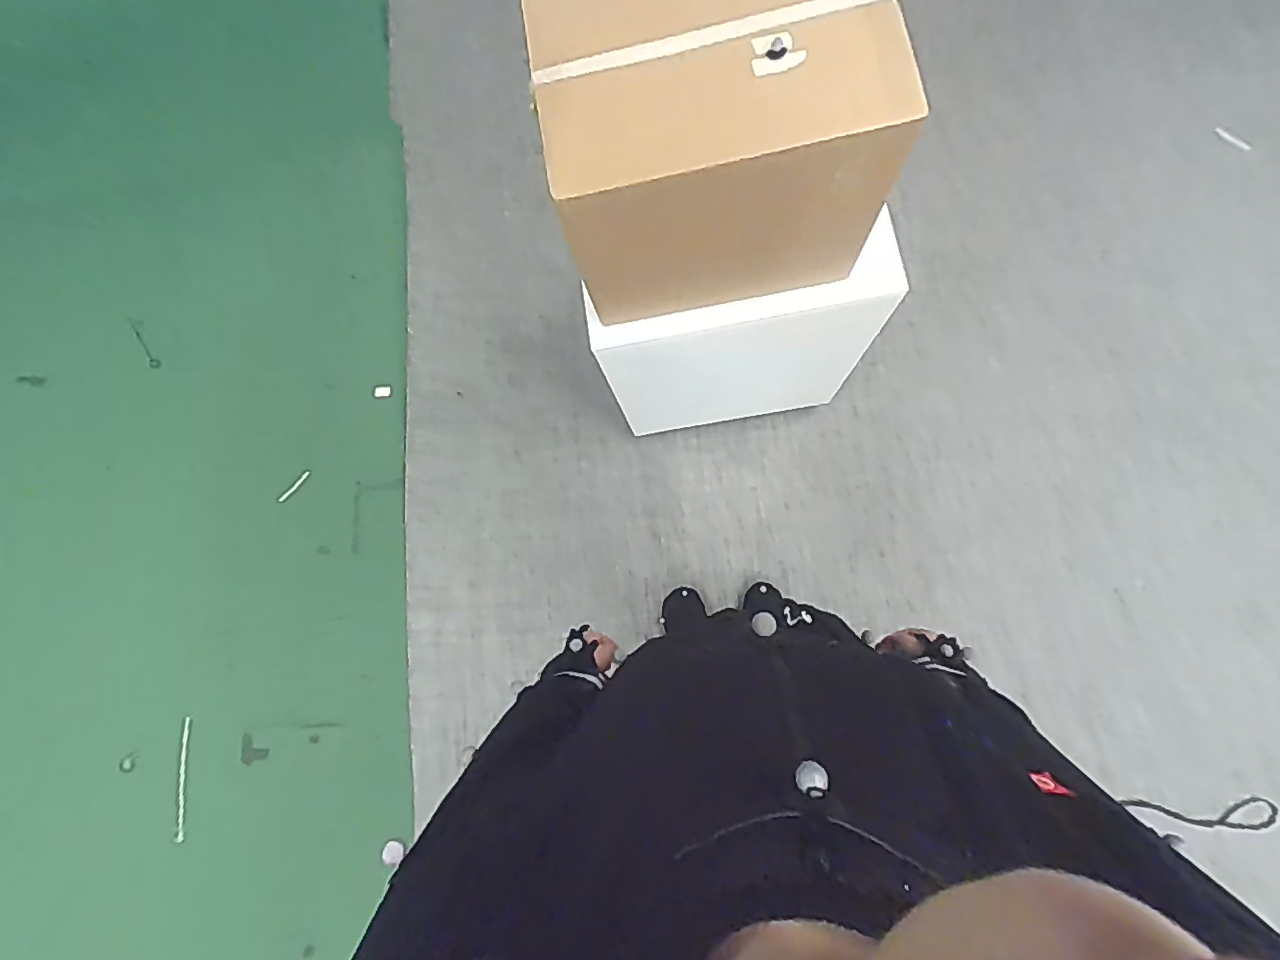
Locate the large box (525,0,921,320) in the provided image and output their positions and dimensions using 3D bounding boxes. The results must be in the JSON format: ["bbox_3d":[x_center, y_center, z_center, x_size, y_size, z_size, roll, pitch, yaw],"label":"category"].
[{"bbox_3d":[0.091,-0.466,0.753,0.408,0.320,0.320,-10,80,3],"label":"large box"}]
